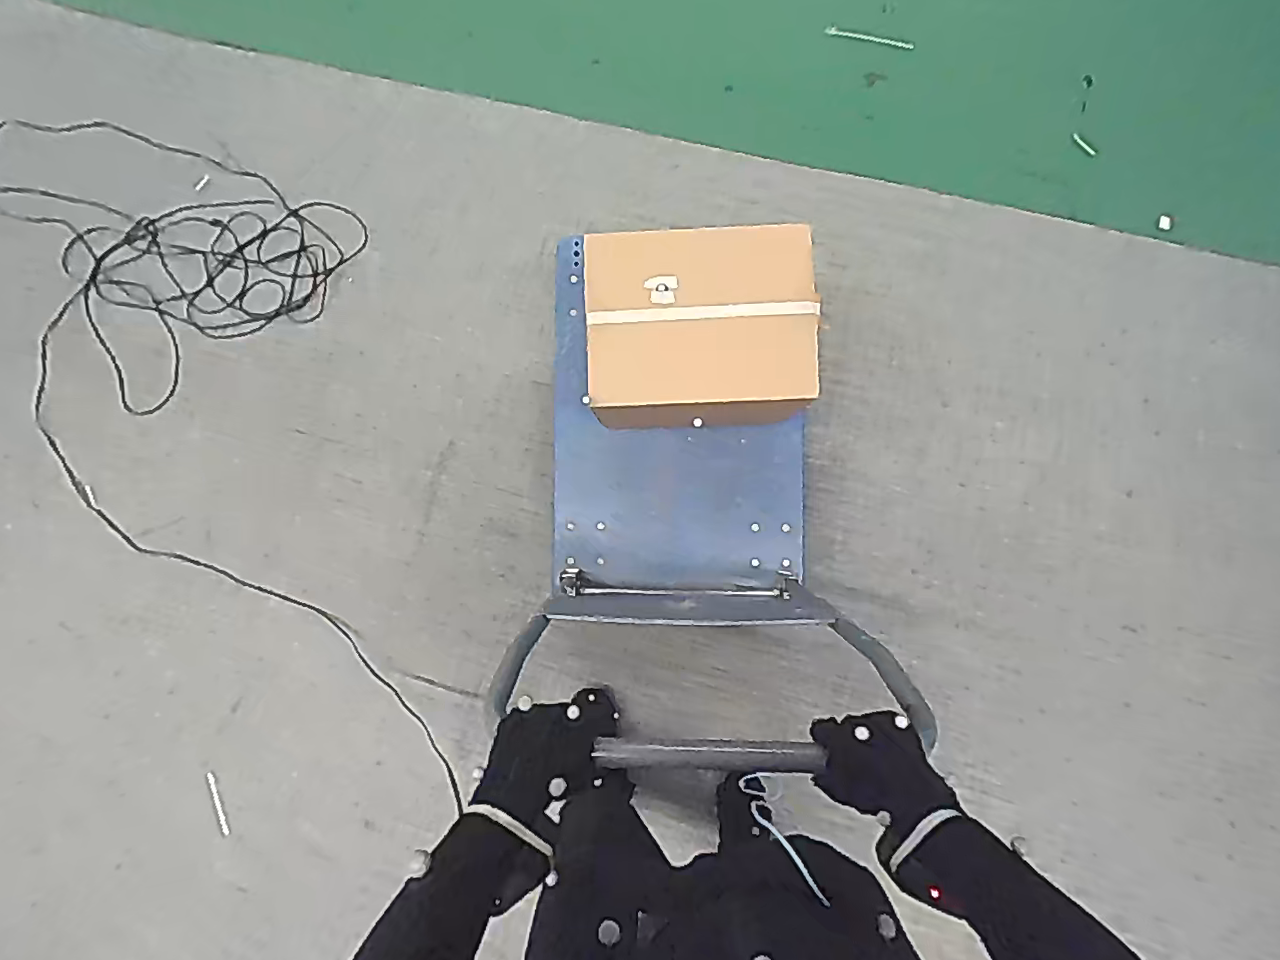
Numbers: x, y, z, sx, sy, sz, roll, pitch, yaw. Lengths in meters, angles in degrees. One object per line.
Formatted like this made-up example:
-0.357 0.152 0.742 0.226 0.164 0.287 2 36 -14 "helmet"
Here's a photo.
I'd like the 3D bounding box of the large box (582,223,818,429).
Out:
0.112 -0.282 1.097 0.408 0.320 0.320 -3 88 3 "large box"
